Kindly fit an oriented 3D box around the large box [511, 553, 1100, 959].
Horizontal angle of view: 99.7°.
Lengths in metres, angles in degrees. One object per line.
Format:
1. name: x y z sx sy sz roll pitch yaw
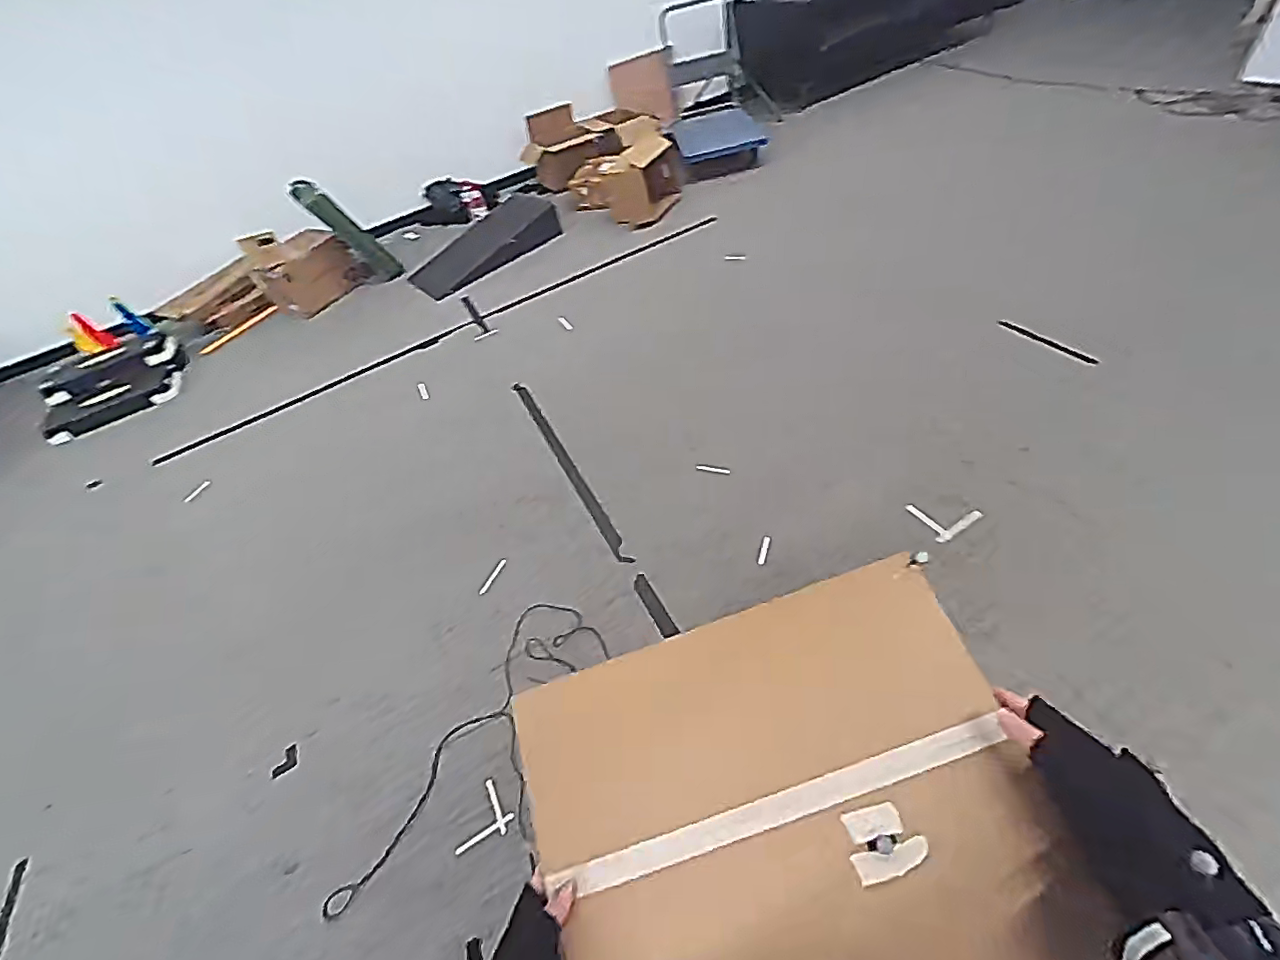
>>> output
1. large box: 0.129 0.336 0.592 0.408 0.320 0.320 -21 63 -1
